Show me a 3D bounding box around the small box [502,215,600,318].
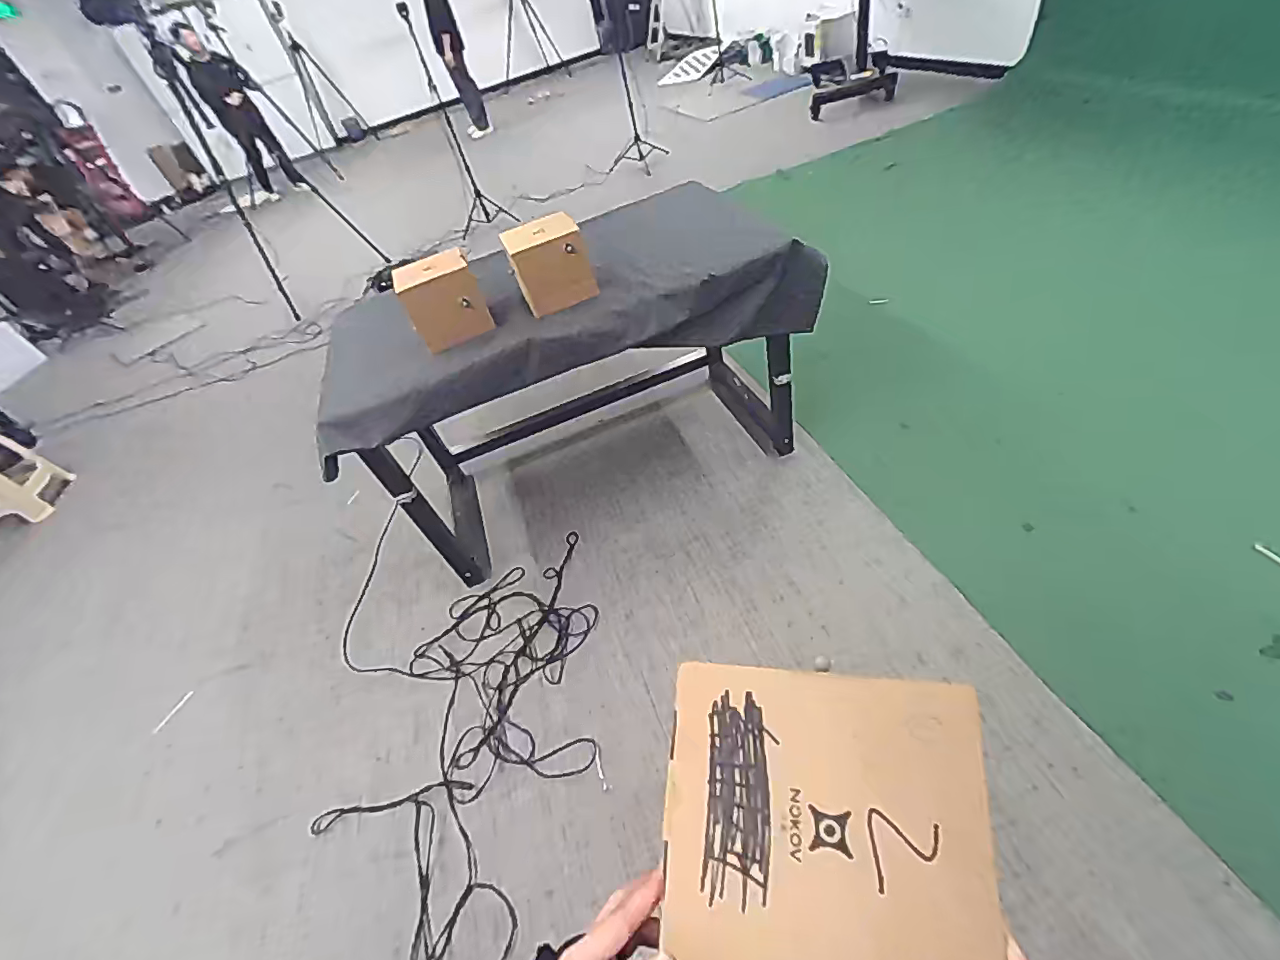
[{"bbox_3d":[-0.221,-0.530,1.349,0.179,0.176,0.168,-23,44,-6],"label":"small box"}]

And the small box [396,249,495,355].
[{"bbox_3d":[-0.476,-0.440,1.340,0.179,0.176,0.168,-26,43,-7],"label":"small box"}]
